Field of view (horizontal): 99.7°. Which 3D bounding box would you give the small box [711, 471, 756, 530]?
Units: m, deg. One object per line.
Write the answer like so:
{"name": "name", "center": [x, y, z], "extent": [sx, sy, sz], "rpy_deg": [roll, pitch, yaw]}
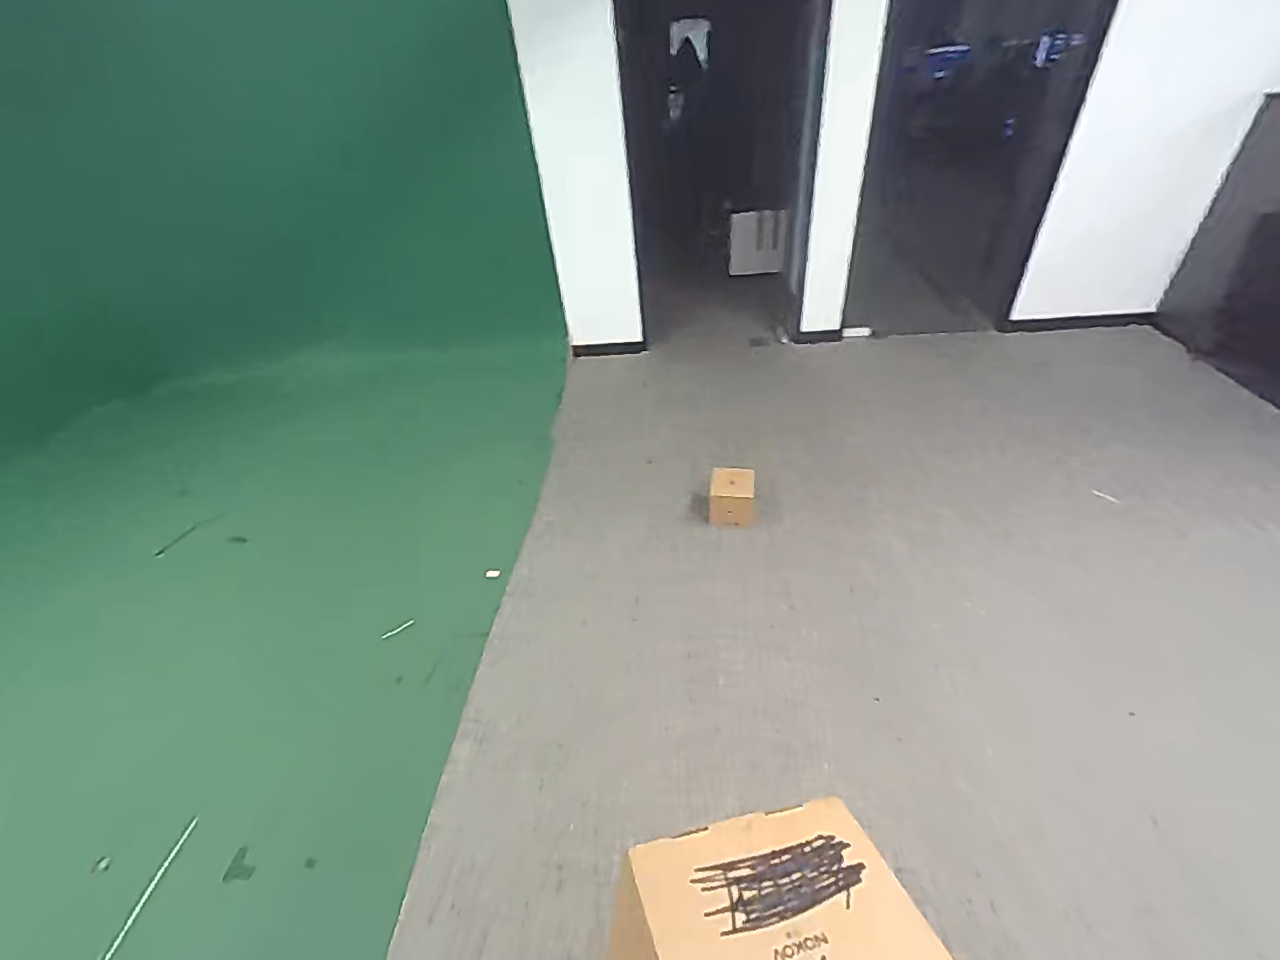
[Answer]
{"name": "small box", "center": [0.375, 0.083, 2.161], "extent": [0.168, 0.176, 0.179], "rpy_deg": [3, 39, 12]}
